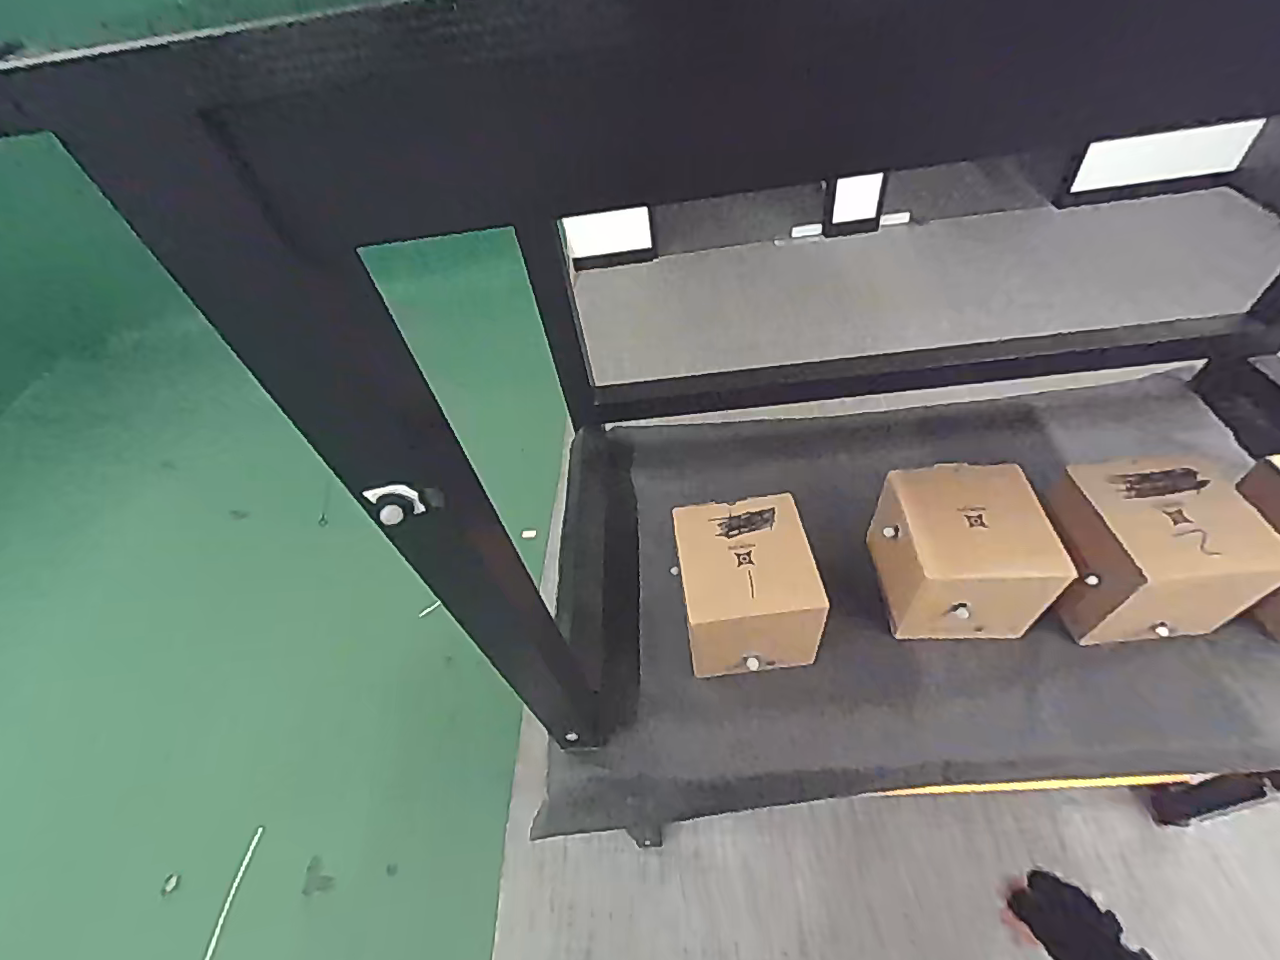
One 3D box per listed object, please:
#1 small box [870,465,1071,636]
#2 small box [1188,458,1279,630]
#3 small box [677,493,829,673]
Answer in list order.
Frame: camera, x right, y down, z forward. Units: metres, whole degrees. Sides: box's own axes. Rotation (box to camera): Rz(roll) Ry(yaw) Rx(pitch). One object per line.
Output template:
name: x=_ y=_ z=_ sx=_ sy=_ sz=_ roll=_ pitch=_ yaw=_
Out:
small box: x=0.429 y=0.101 z=0.739 sx=0.168 sy=0.176 sz=0.179 roll=-2 pitch=49 yaw=7
small box: x=0.872 y=0.083 z=0.675 sx=0.168 sy=0.176 sz=0.179 roll=-7 pitch=48 yaw=4
small box: x=0.144 y=0.144 z=0.746 sx=0.168 sy=0.176 sz=0.179 roll=-8 pitch=49 yaw=3
